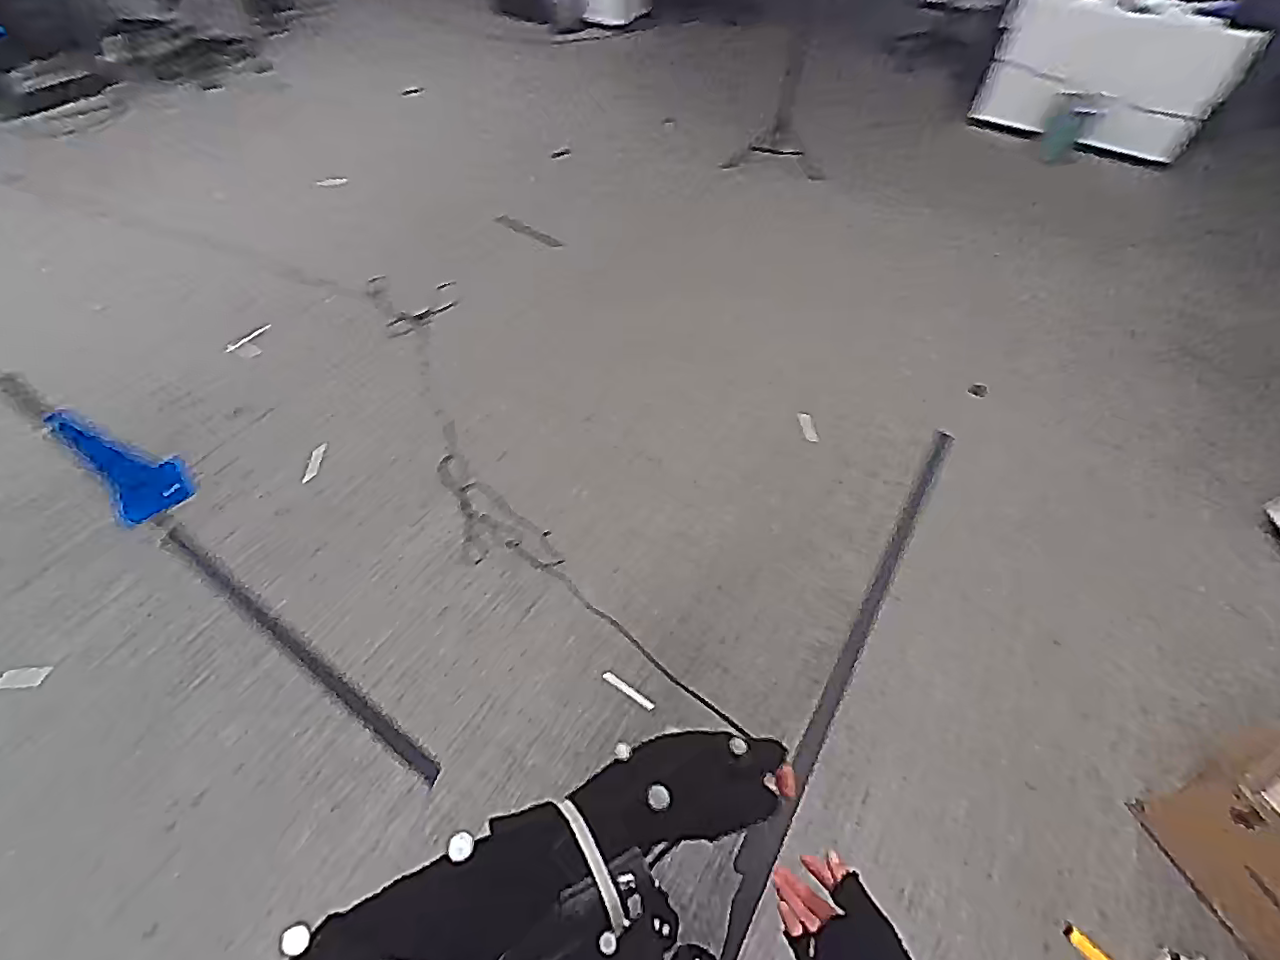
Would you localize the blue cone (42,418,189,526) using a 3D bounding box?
[{"bbox_3d":[-1.541,-0.051,1.574,0.192,0.380,0.193,-34,62,-21],"label":"blue cone"}]
